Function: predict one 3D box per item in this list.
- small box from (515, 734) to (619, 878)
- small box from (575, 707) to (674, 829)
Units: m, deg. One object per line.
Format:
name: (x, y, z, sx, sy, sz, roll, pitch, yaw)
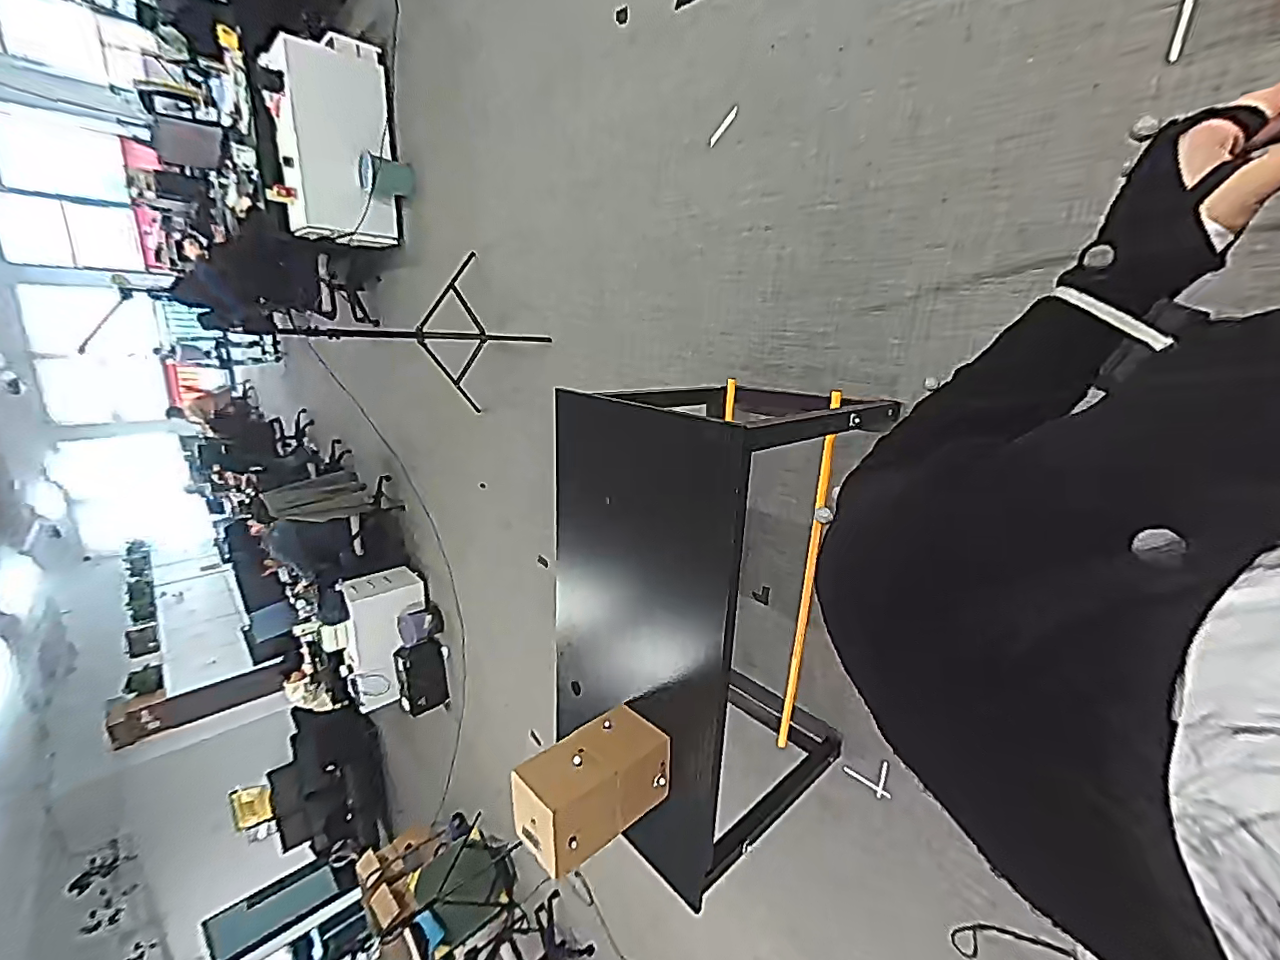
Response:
small box: (-0.159, 0.710, 1.199, 0.168, 0.176, 0.179, 14, 110, 46)
small box: (-0.039, 0.680, 1.308, 0.179, 0.176, 0.168, 14, 111, 45)
